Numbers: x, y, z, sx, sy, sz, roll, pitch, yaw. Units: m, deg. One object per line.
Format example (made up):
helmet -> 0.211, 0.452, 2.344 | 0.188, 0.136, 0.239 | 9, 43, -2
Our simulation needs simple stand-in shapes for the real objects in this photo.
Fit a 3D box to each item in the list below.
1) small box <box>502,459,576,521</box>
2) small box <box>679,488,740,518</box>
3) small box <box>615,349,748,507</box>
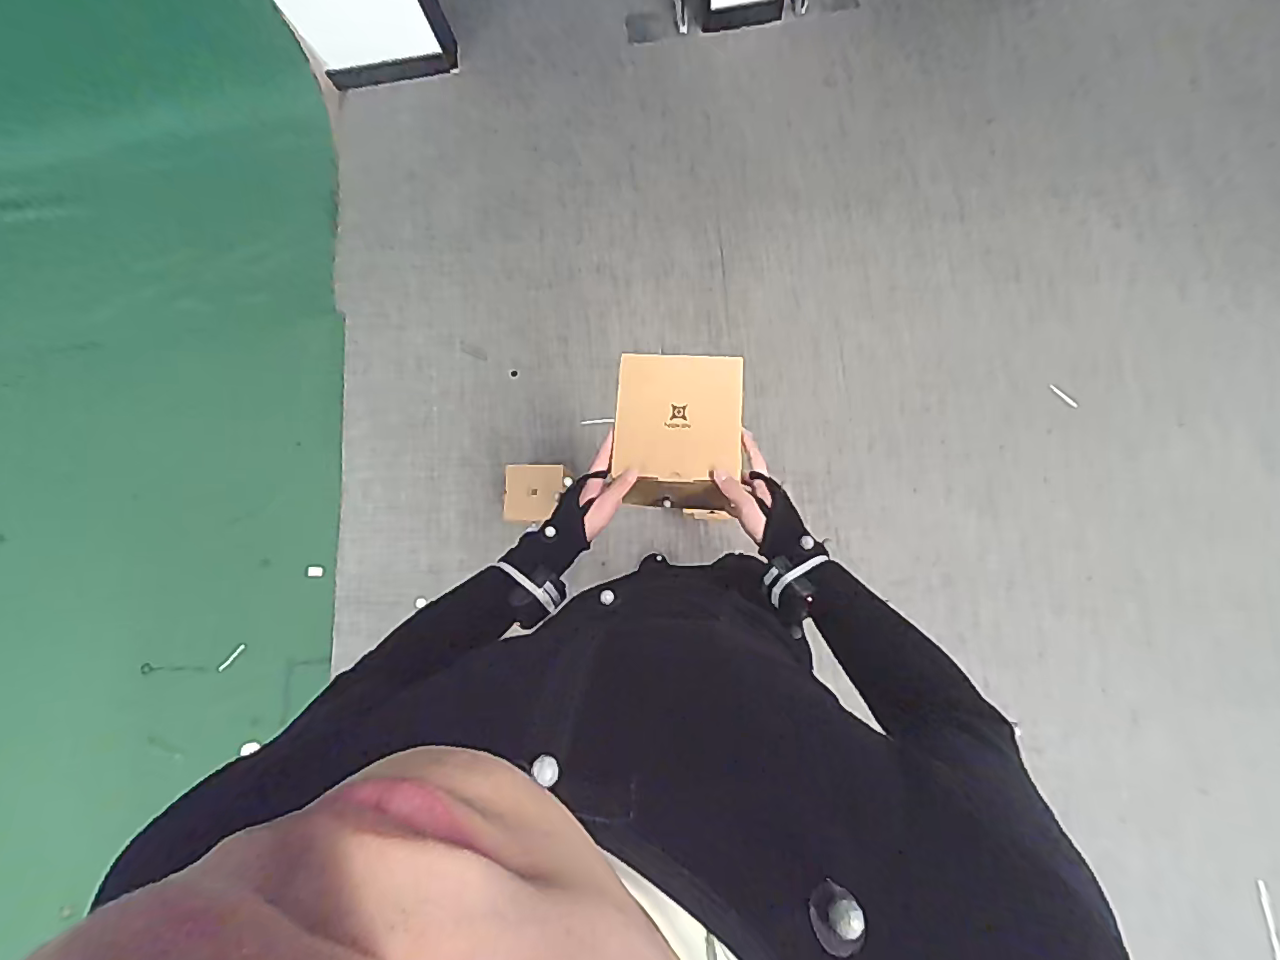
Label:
small box -> -0.301, 0.034, 1.638 | 0.179, 0.176, 0.168 | 1, 82, 6
small box -> 0.207, 0.011, 1.587 | 0.168, 0.176, 0.179 | 7, 83, 9
small box -> 0.059, -0.067, 0.777 | 0.168, 0.176, 0.179 | 3, 77, 4
